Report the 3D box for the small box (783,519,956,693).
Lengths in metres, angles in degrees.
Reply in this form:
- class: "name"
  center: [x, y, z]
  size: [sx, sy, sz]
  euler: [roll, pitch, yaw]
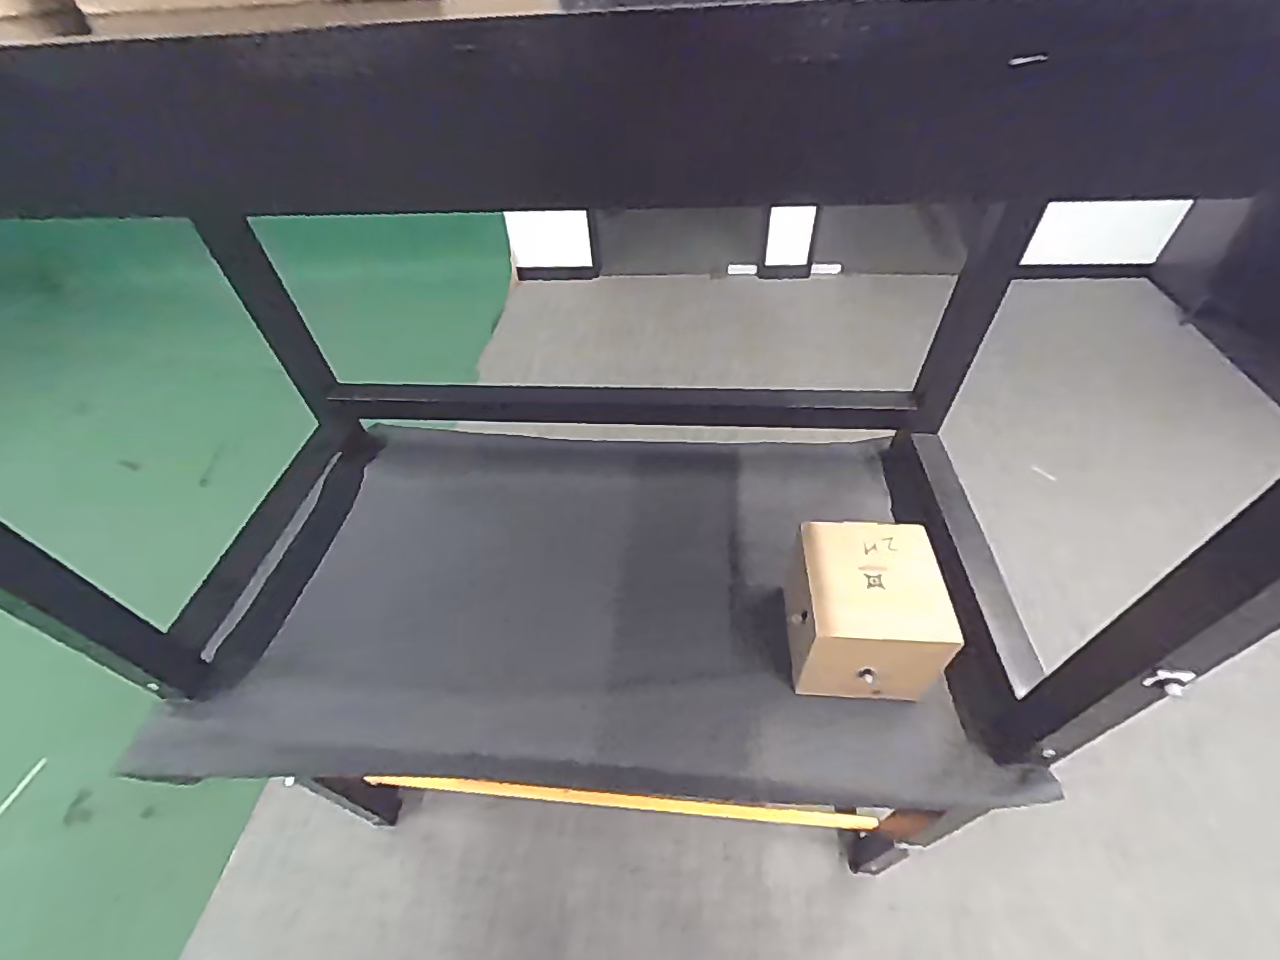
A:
- class: "small box"
  center: [0.296, 0.174, 0.741]
  size: [0.168, 0.176, 0.179]
  euler: [2, 46, 6]
